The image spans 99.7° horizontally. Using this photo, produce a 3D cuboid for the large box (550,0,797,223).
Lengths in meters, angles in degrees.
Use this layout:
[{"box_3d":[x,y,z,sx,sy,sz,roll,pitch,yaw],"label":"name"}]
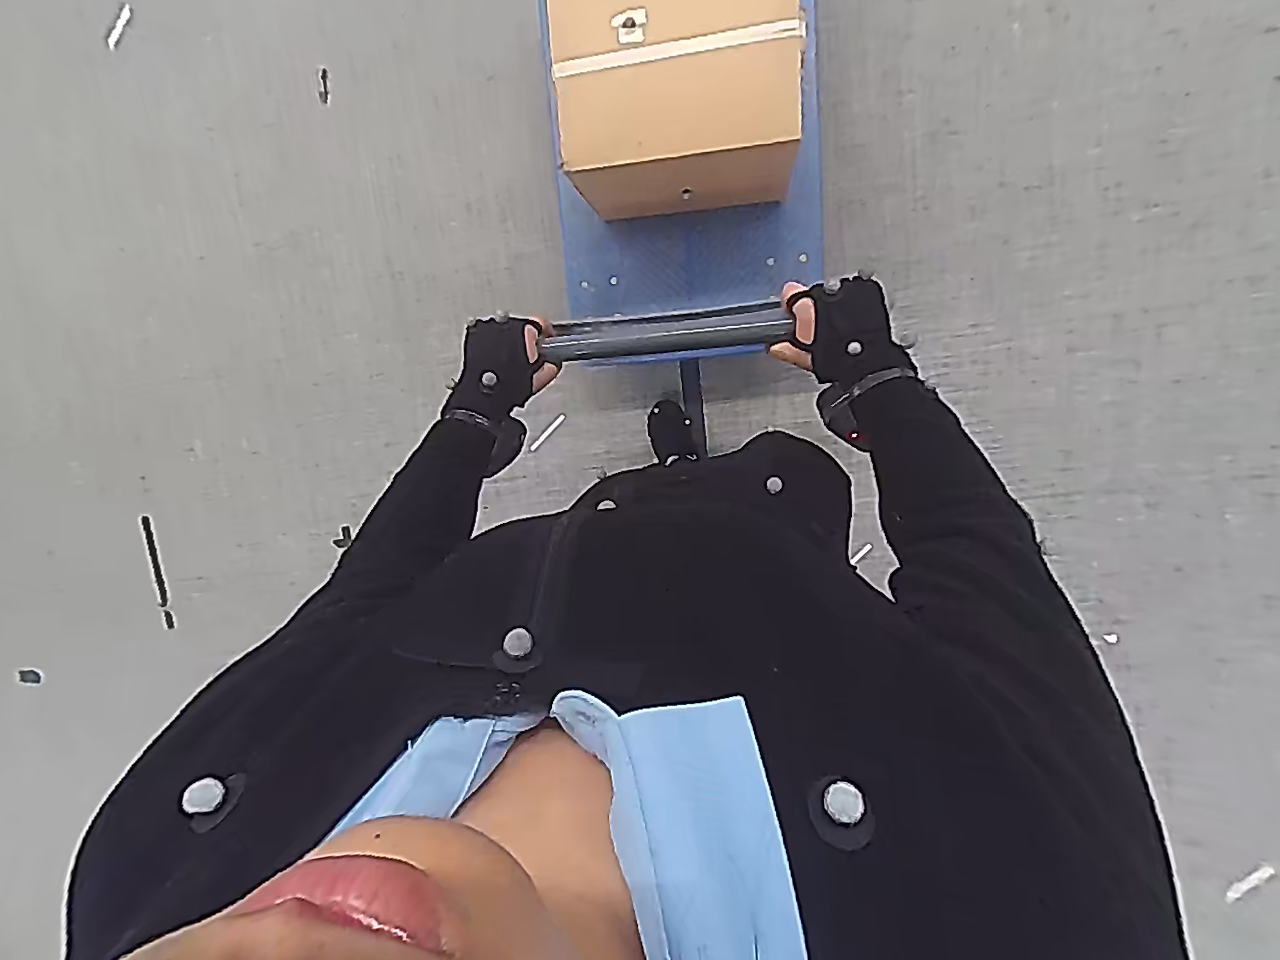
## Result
[{"box_3d":[0.080,-0.724,1.048,0.408,0.320,0.320,-3,99,11],"label":"large box"}]
